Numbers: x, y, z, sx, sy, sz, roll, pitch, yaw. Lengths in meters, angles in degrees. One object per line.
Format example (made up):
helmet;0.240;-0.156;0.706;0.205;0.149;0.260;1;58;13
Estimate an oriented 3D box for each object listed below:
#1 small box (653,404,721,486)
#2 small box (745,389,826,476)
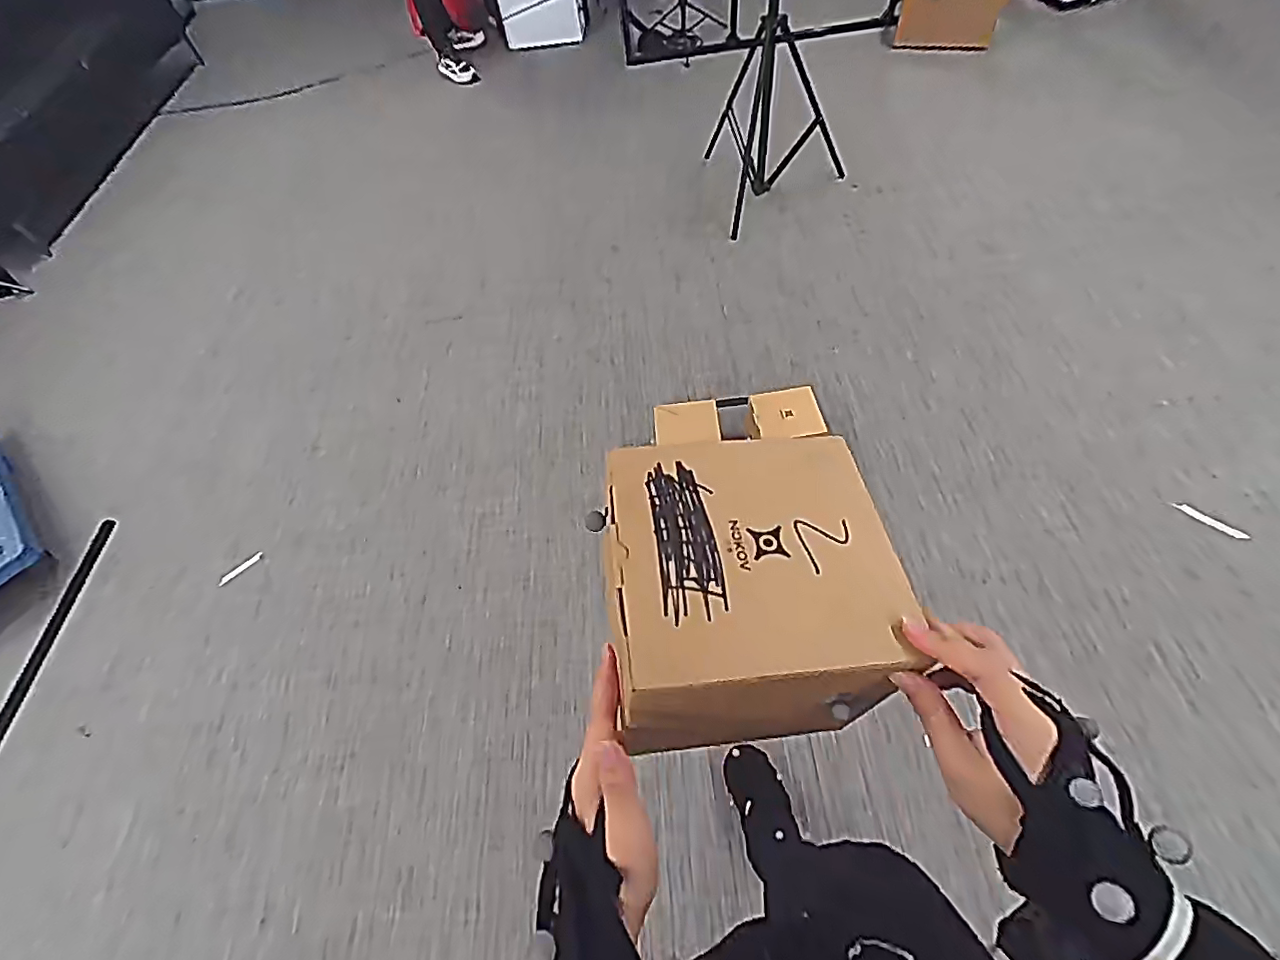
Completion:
small box;0.136;-0.101;1.544;0.179;0.176;0.168;-5;58;4
small box;0.404;-0.130;1.533;0.179;0.176;0.168;-10;58;1
